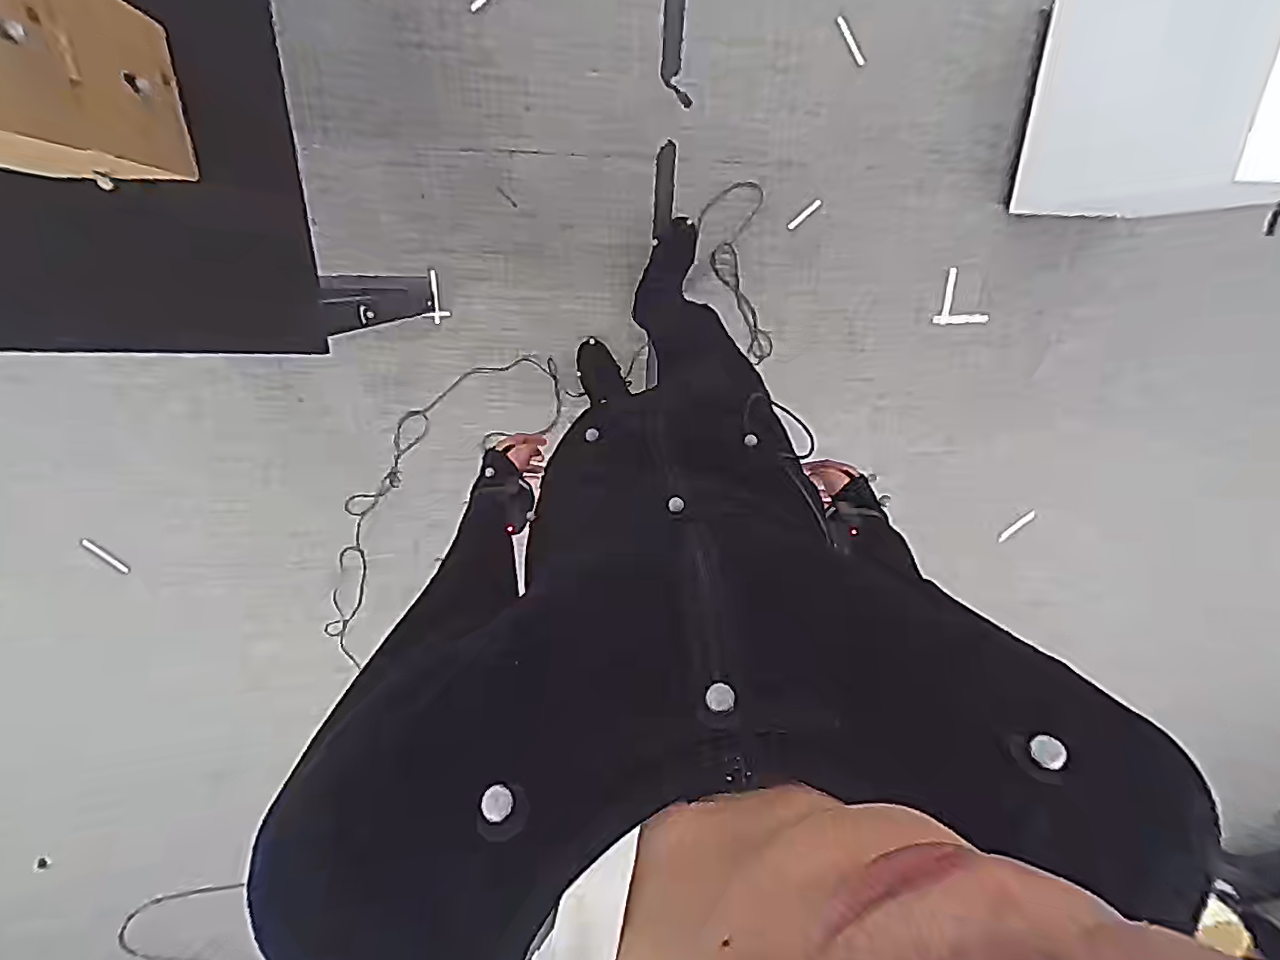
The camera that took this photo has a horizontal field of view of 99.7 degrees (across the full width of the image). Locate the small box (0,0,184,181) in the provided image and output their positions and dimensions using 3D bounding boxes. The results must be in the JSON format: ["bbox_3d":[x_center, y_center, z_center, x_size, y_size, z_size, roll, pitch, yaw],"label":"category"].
[{"bbox_3d":[-0.636,-0.426,0.574,0.179,0.176,0.168,-3,110,-6],"label":"small box"}]

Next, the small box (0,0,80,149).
[{"bbox_3d":[-0.620,-0.370,0.420,0.179,0.176,0.168,-2,111,-6],"label":"small box"}]
